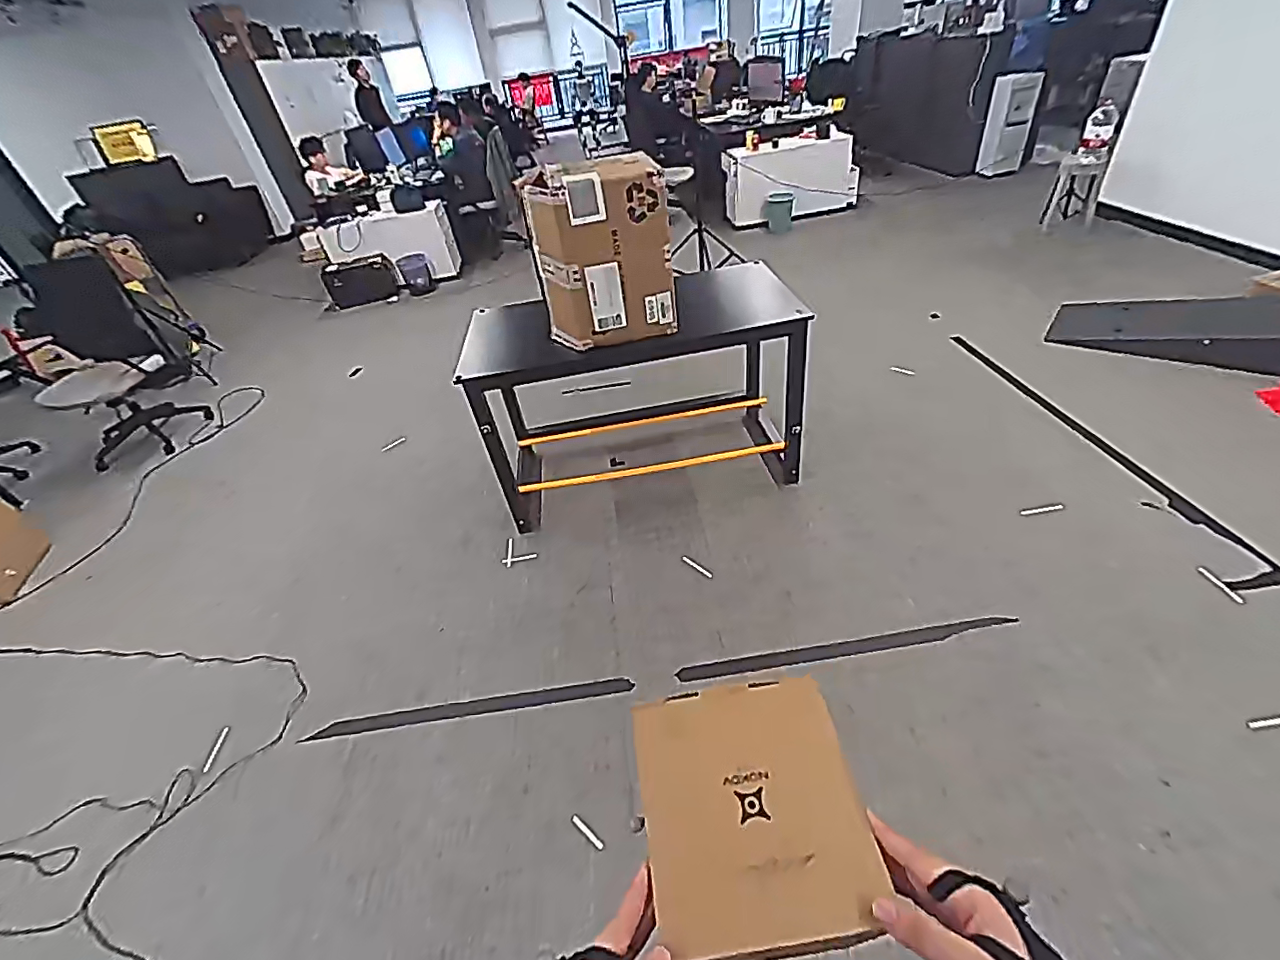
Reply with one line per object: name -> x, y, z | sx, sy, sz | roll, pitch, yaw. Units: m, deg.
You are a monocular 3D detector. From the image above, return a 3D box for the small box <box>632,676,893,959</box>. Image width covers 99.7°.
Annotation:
small box -> 0.085, 0.300, 0.475 | 0.168, 0.176, 0.179 | -8, 46, -2
